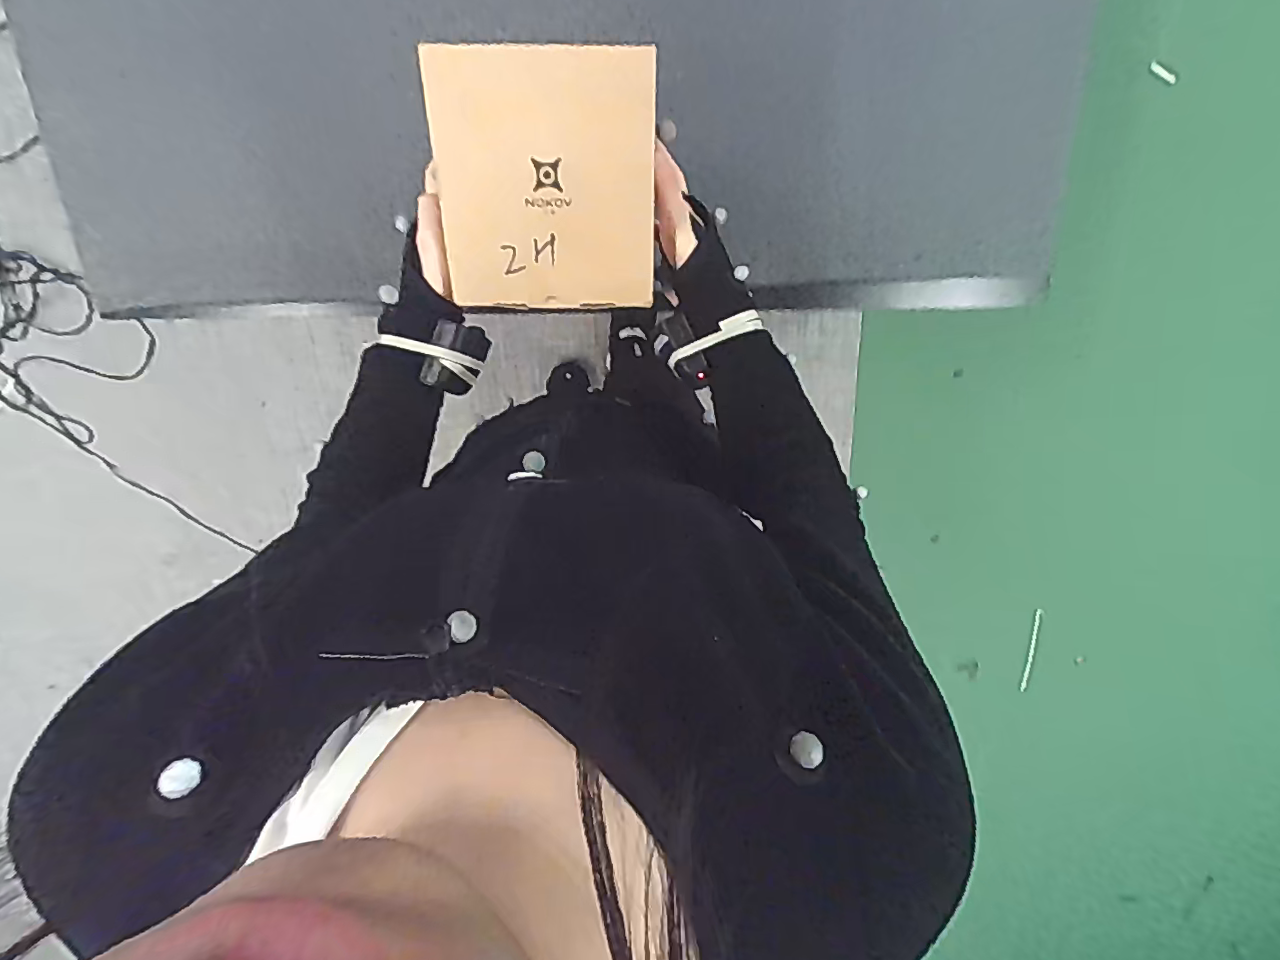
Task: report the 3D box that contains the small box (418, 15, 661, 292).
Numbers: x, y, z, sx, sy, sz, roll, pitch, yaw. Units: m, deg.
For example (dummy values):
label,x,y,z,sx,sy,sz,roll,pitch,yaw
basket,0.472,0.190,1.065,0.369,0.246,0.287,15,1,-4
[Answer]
label,x,y,z,sx,sy,sz,roll,pitch,yaw
small box,-0.072,-0.263,0.469,0.168,0.176,0.179,0,115,-1
